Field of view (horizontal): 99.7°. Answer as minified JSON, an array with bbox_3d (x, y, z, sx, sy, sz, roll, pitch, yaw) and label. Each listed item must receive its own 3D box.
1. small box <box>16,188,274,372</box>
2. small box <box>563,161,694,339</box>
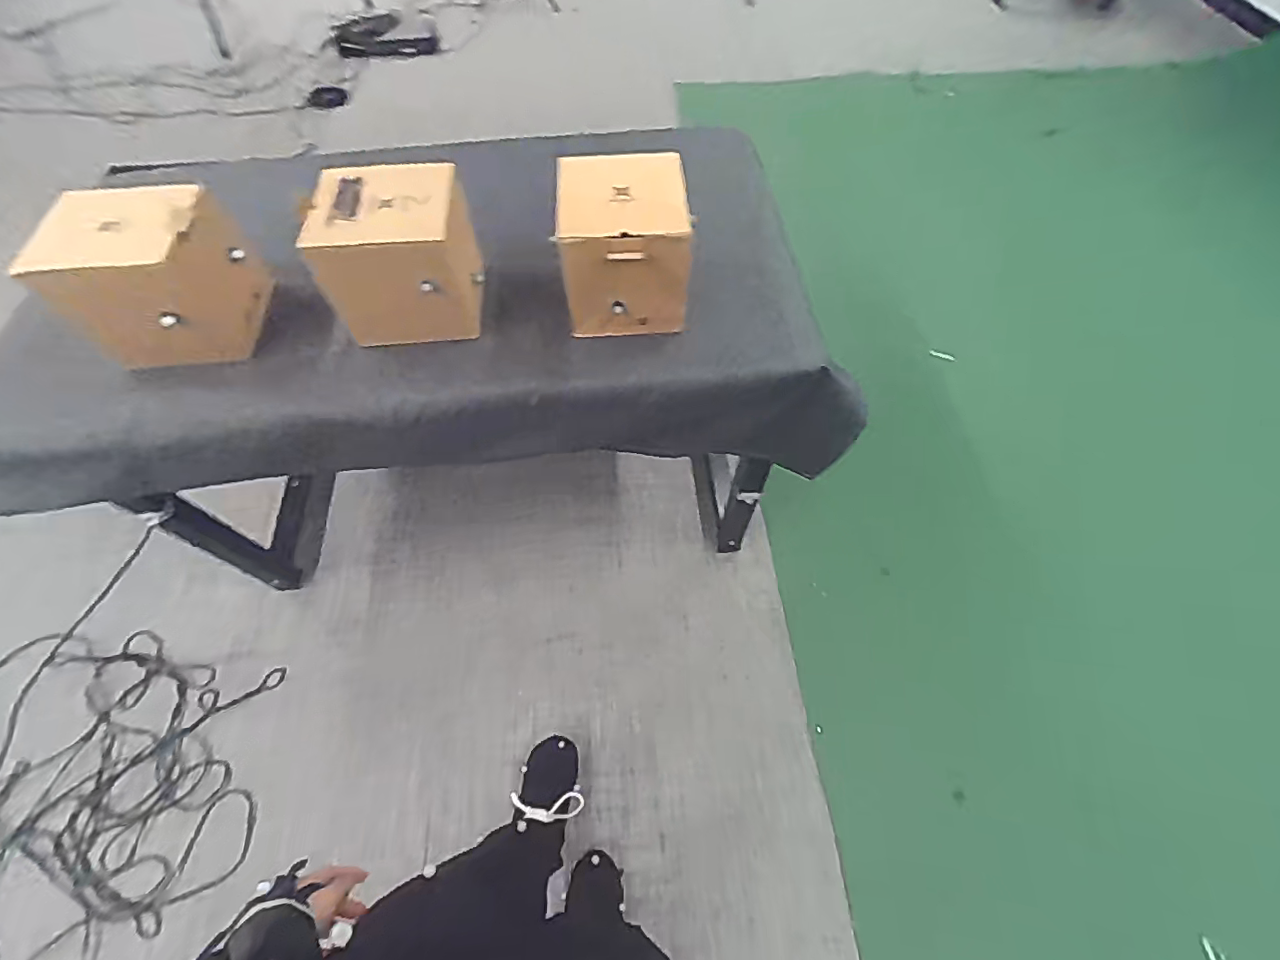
[{"bbox_3d":[-0.650,-0.268,0.743,0.179,0.176,0.168,-6,59,-3],"label":"small box"},{"bbox_3d":[-0.019,-0.325,0.776,0.168,0.176,0.179,-3,60,-2],"label":"small box"}]
